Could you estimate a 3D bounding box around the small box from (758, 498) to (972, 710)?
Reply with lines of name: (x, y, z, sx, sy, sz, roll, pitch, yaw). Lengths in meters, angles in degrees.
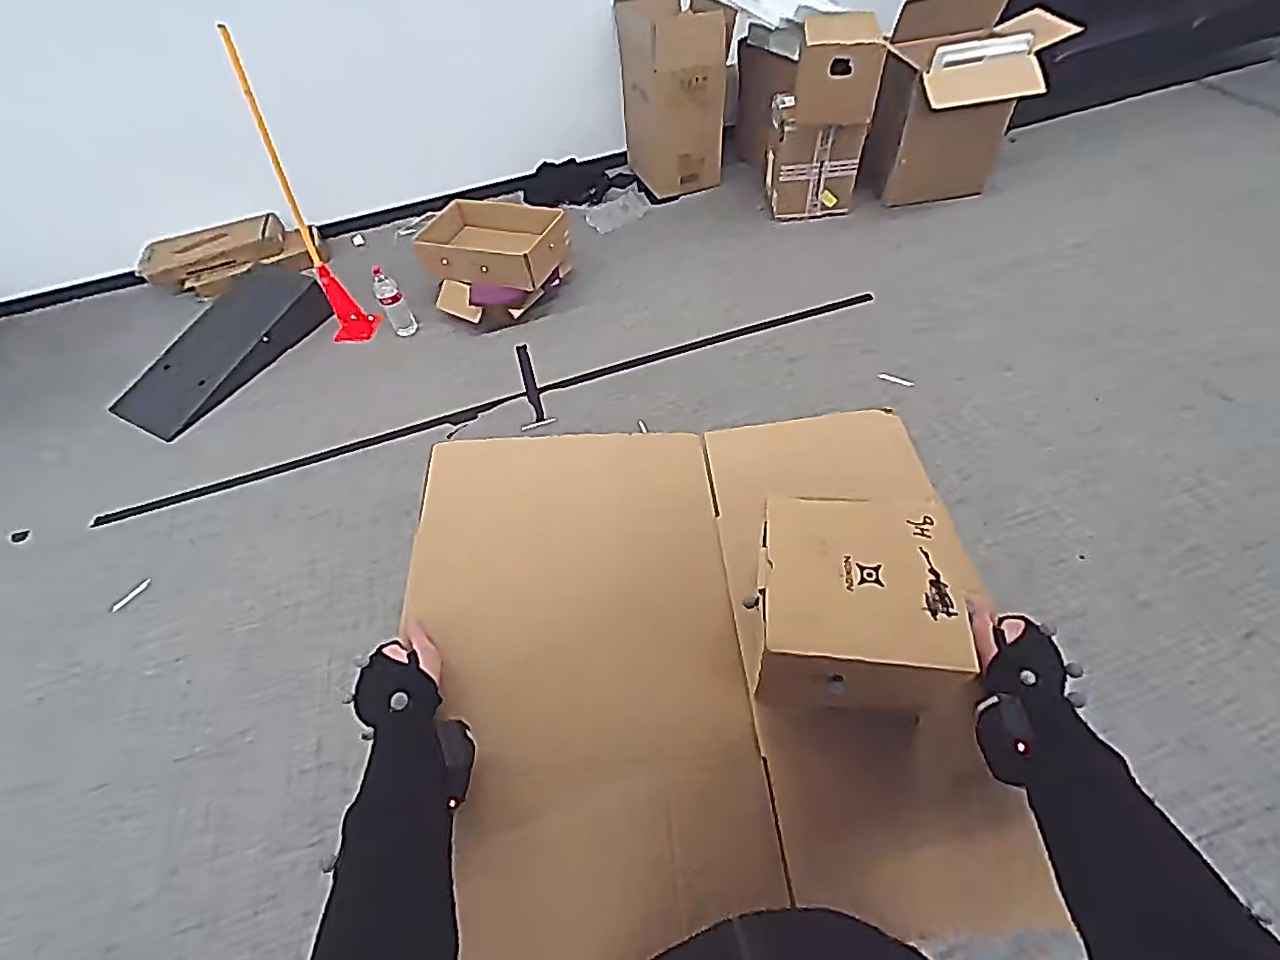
small box: (0.218, 0.135, 0.576, 0.179, 0.176, 0.168, 2, 56, 11)
